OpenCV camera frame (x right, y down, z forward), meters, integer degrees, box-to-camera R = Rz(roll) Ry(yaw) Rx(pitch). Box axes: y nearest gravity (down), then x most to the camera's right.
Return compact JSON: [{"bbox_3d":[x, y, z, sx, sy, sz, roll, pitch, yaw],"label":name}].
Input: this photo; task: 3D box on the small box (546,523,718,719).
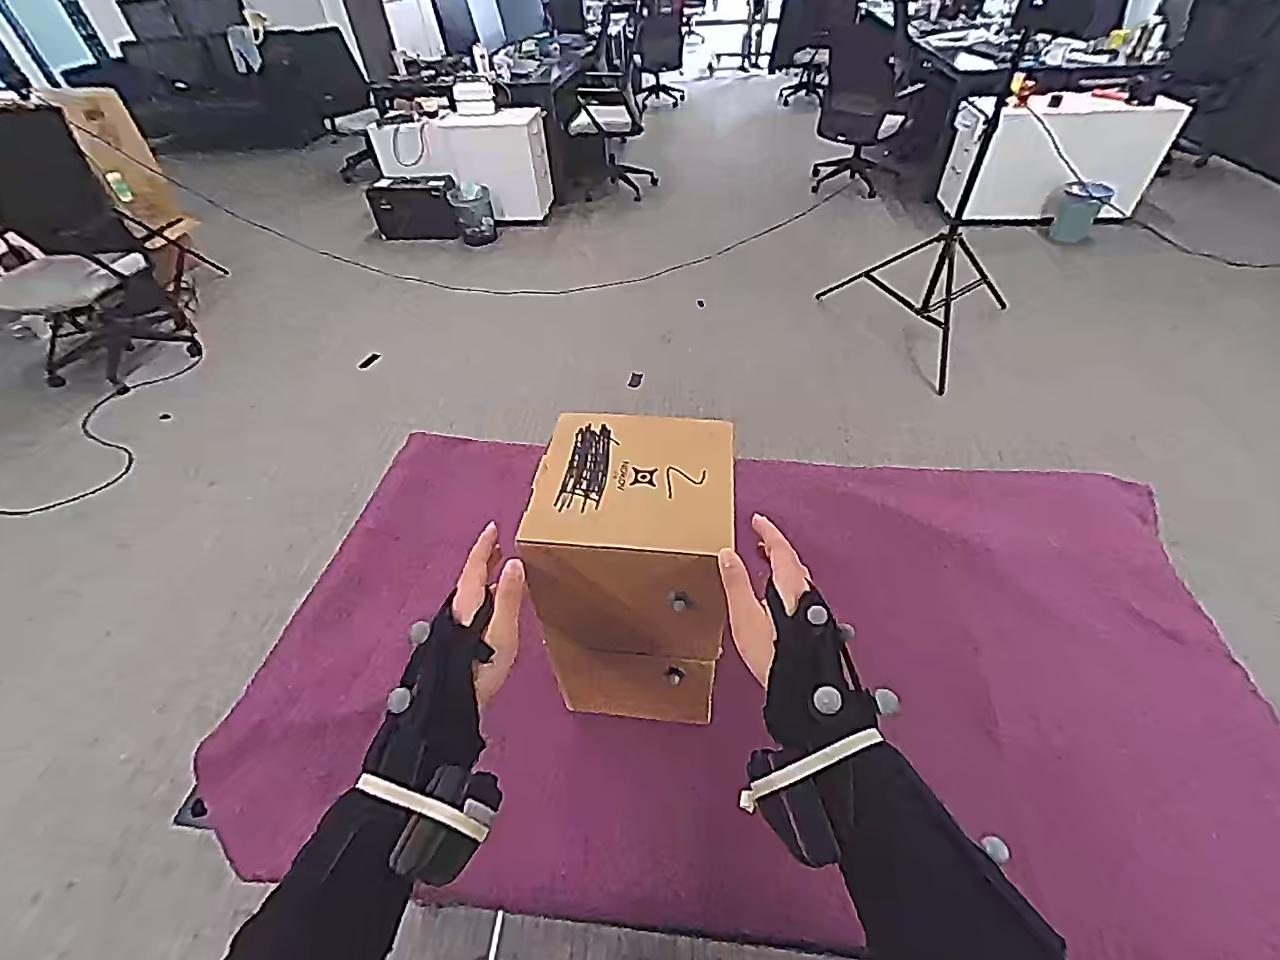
[{"bbox_3d":[0.001,0.171,0.654,0.179,0.176,0.168,3,45,6],"label":"small box"}]
